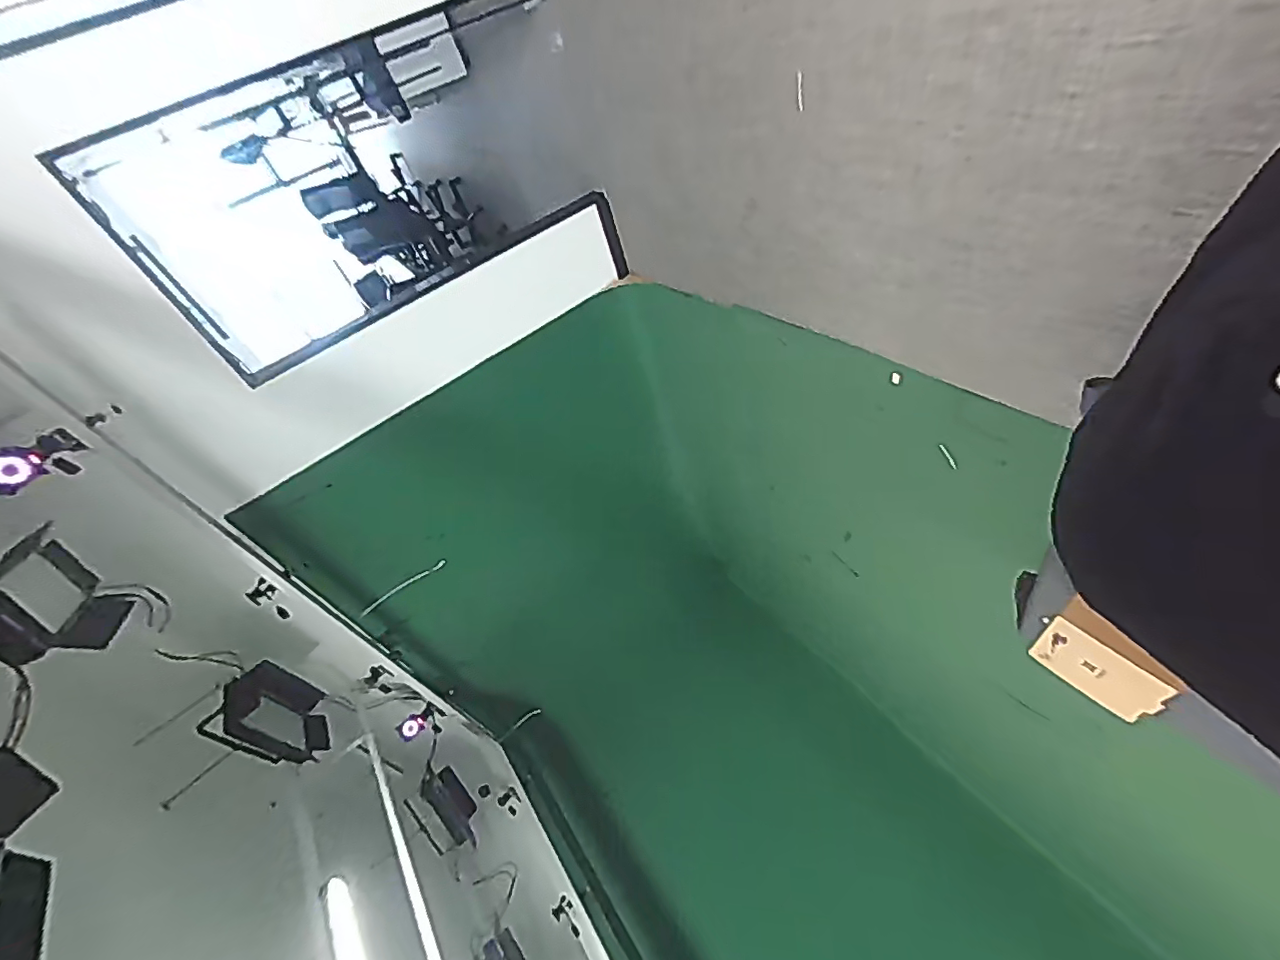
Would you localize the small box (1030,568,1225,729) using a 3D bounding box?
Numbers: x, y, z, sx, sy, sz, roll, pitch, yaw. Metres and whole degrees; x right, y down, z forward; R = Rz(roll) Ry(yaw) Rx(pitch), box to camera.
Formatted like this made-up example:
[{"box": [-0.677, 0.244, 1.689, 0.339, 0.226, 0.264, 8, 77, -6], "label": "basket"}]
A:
[{"box": [0.844, 0.289, 0.945, 0.179, 0.176, 0.168, 41, 159, 38], "label": "small box"}]
